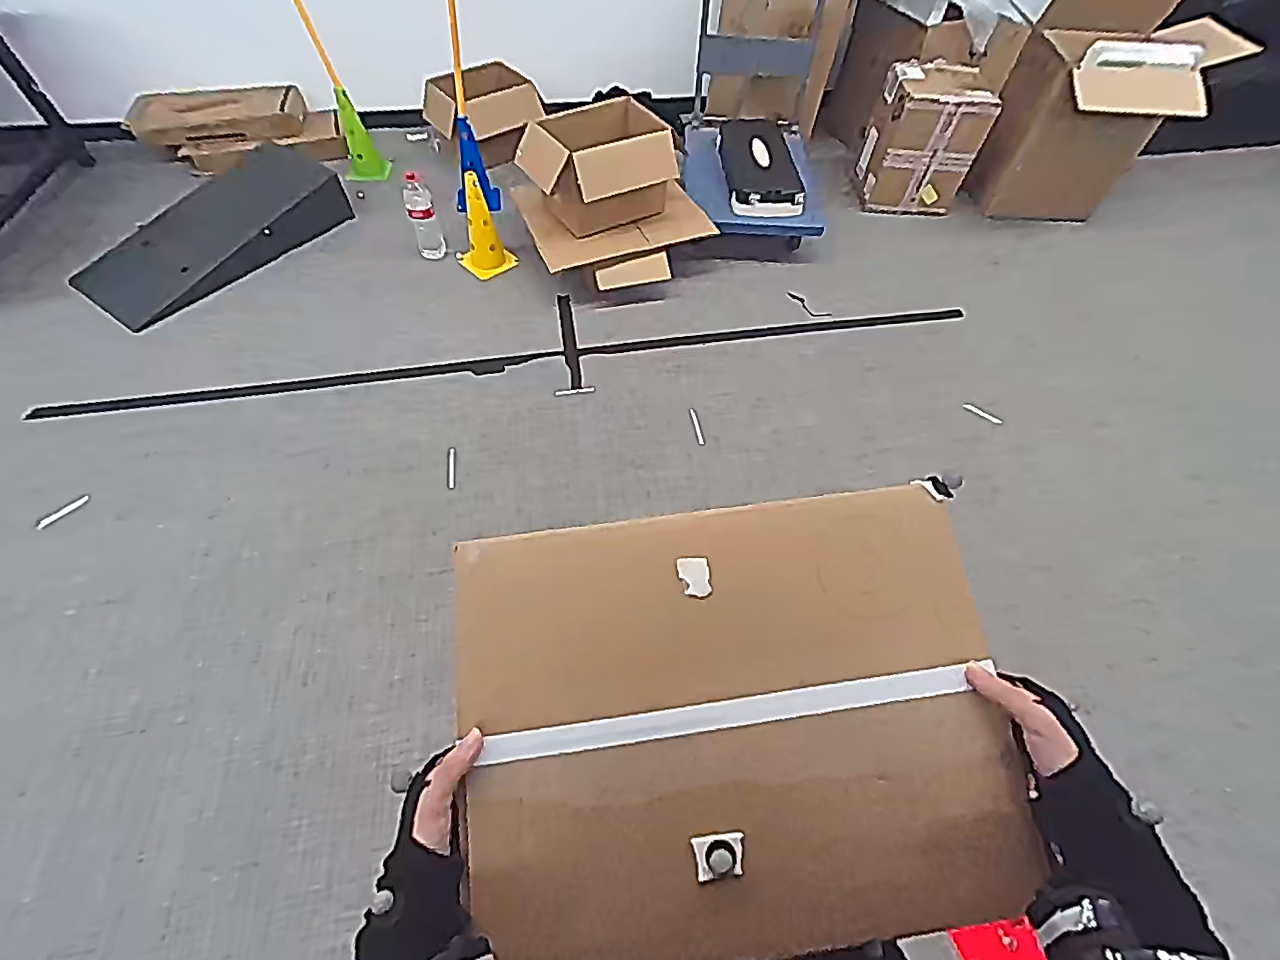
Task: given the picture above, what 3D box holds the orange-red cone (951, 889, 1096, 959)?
[{"bbox_3d":[0.742,0.844,0.910,0.199,0.360,0.198,-14,58,-13],"label":"orange-red cone"}]
